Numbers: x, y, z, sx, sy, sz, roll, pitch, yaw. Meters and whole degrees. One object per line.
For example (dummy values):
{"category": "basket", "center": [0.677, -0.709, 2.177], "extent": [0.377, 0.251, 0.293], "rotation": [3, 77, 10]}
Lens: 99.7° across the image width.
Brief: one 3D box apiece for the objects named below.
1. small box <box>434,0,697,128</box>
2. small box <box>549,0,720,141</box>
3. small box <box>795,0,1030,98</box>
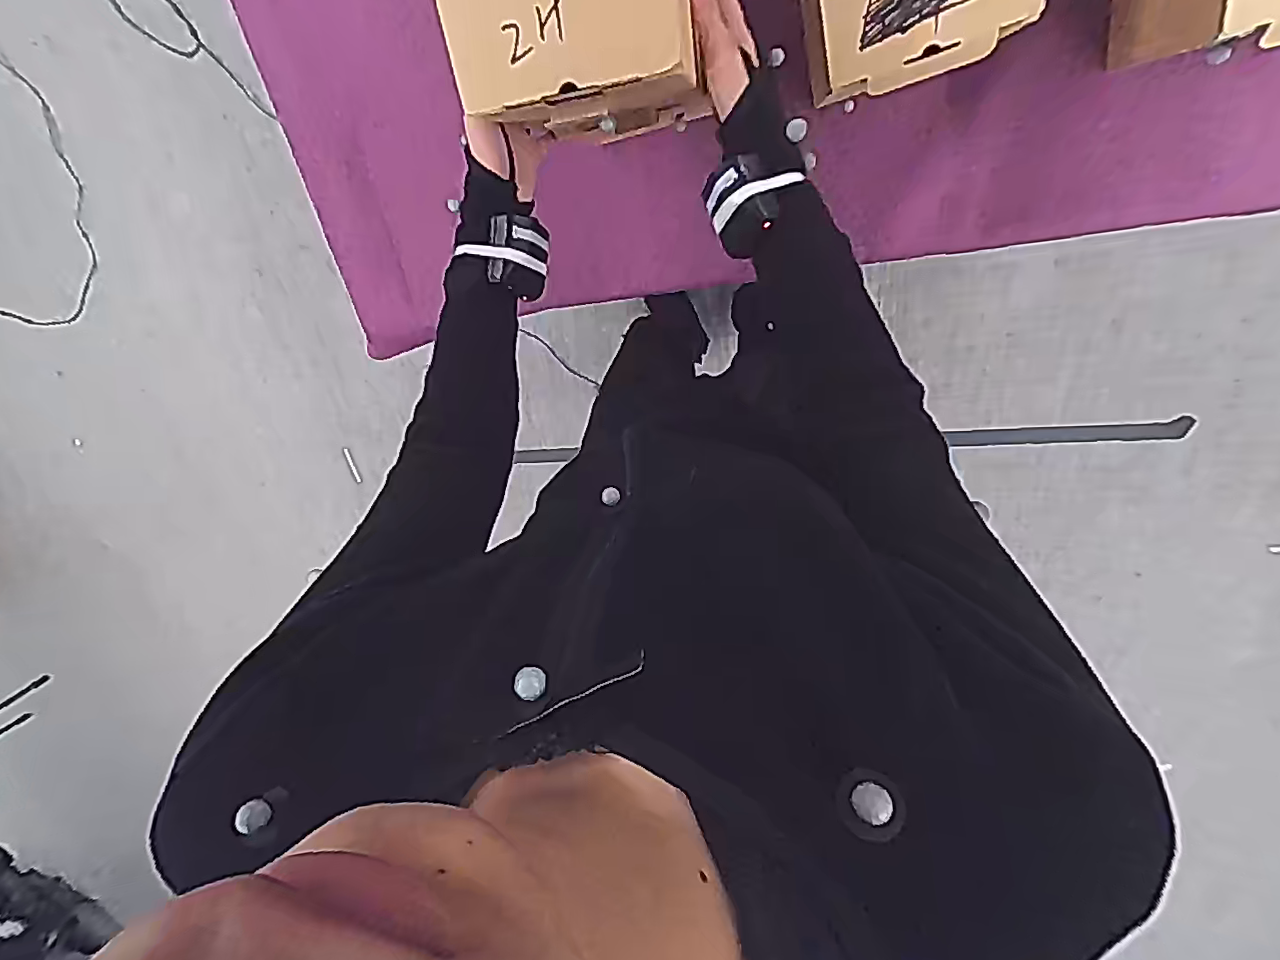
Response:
{"category": "small box", "center": [-0.050, -0.389, 0.412], "extent": [0.168, 0.176, 0.179], "rotation": [-2, 119, 14]}
{"category": "small box", "center": [-0.014, -0.466, 0.554], "extent": [0.168, 0.176, 0.179], "rotation": [-5, 118, 15]}
{"category": "small box", "center": [0.232, -0.475, 0.492], "extent": [0.168, 0.176, 0.179], "rotation": [-10, 116, 18]}
